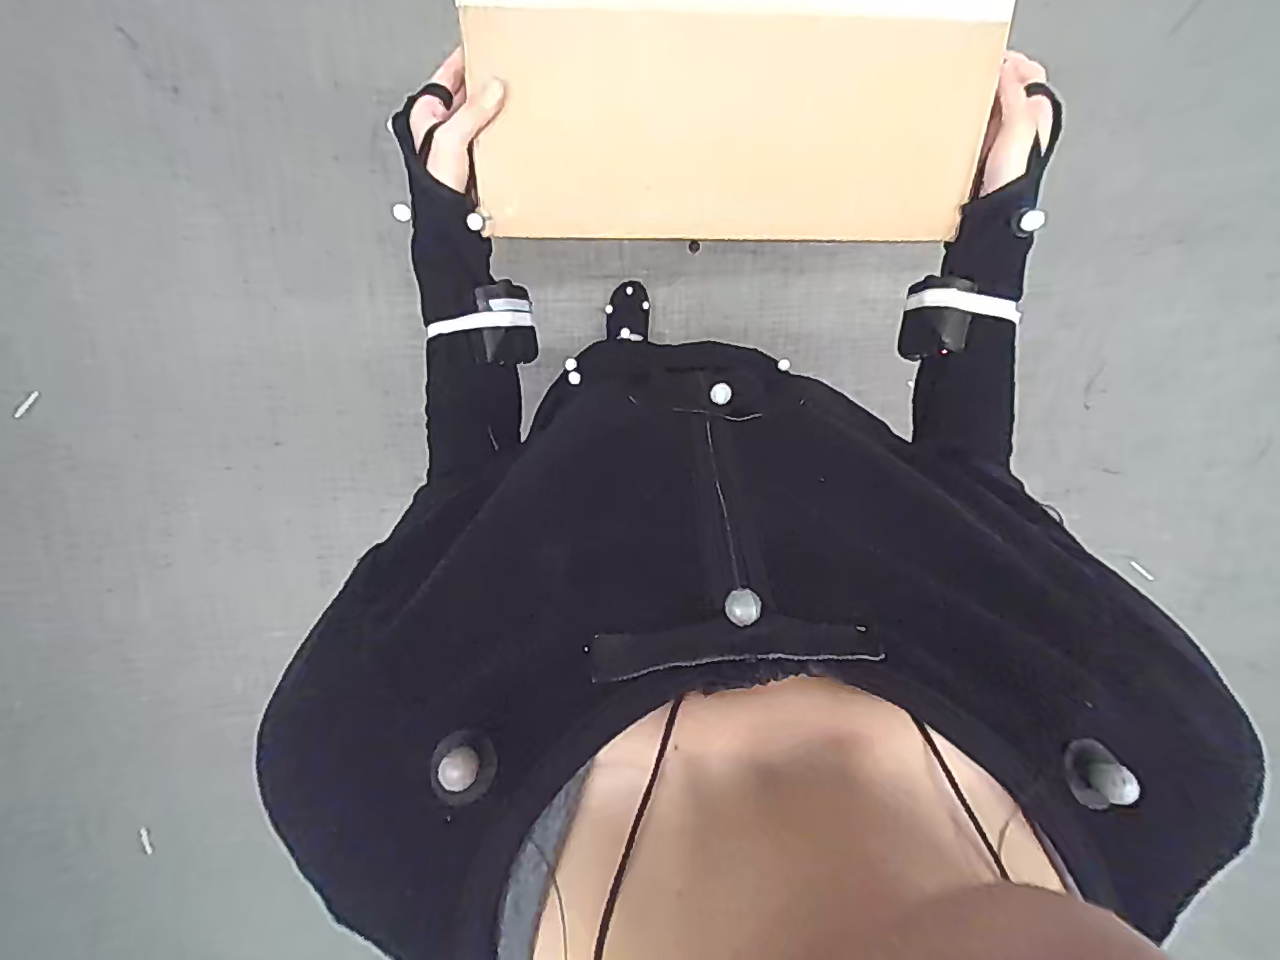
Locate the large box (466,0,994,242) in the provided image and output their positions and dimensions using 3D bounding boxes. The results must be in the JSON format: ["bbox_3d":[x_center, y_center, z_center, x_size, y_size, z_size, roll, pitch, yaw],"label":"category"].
[{"bbox_3d":[0.064,-0.415,0.537,0.408,0.320,0.320,-1,115,-3],"label":"large box"}]
